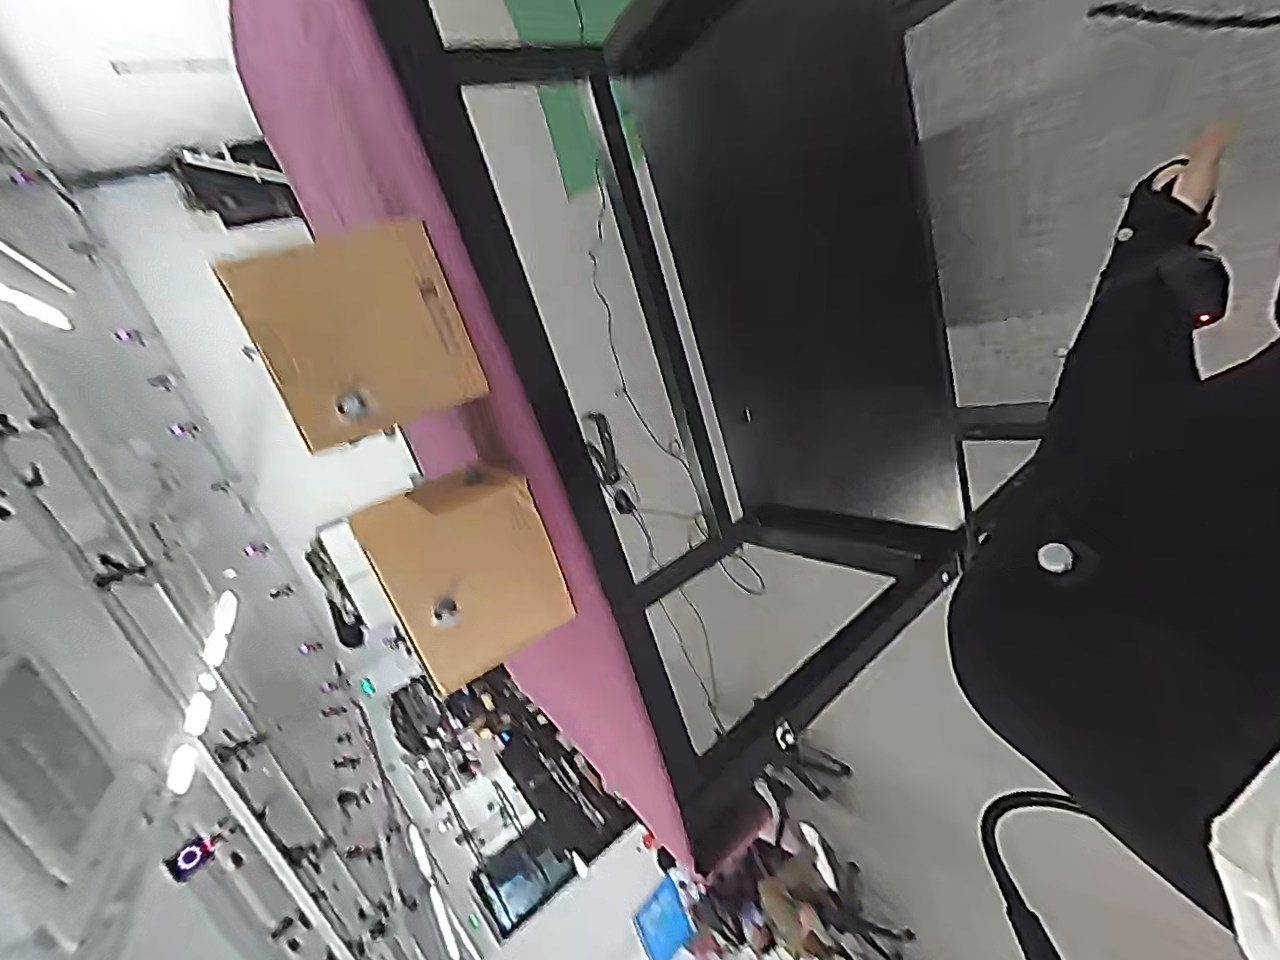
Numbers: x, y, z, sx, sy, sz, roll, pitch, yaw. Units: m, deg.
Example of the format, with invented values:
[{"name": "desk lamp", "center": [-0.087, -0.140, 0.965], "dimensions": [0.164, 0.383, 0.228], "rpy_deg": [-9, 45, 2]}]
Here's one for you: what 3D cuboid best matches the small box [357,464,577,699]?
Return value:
[{"name": "small box", "center": [-0.192, 0.100, 0.615], "dimensions": [0.168, 0.176, 0.179], "rpy_deg": [13, 124, 56]}]
